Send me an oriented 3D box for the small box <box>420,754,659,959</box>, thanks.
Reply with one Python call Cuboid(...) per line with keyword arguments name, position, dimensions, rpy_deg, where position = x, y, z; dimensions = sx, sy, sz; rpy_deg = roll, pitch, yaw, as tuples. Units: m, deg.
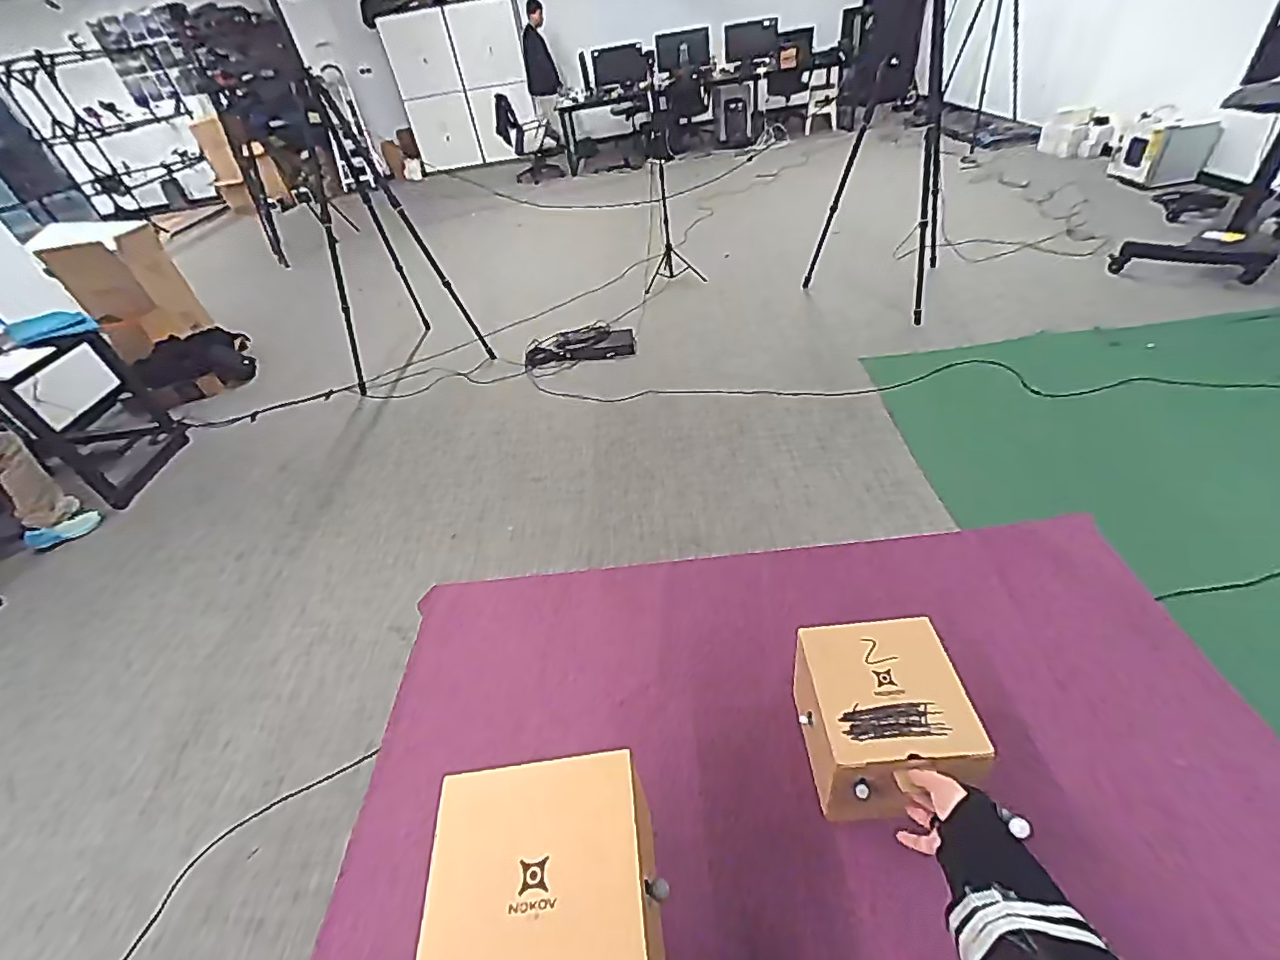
Cuboid(name="small box", position=(-0.075, 0.372, 0.475), dimensions=(0.168, 0.176, 0.179), rpy_deg=(-9, 43, 0))
